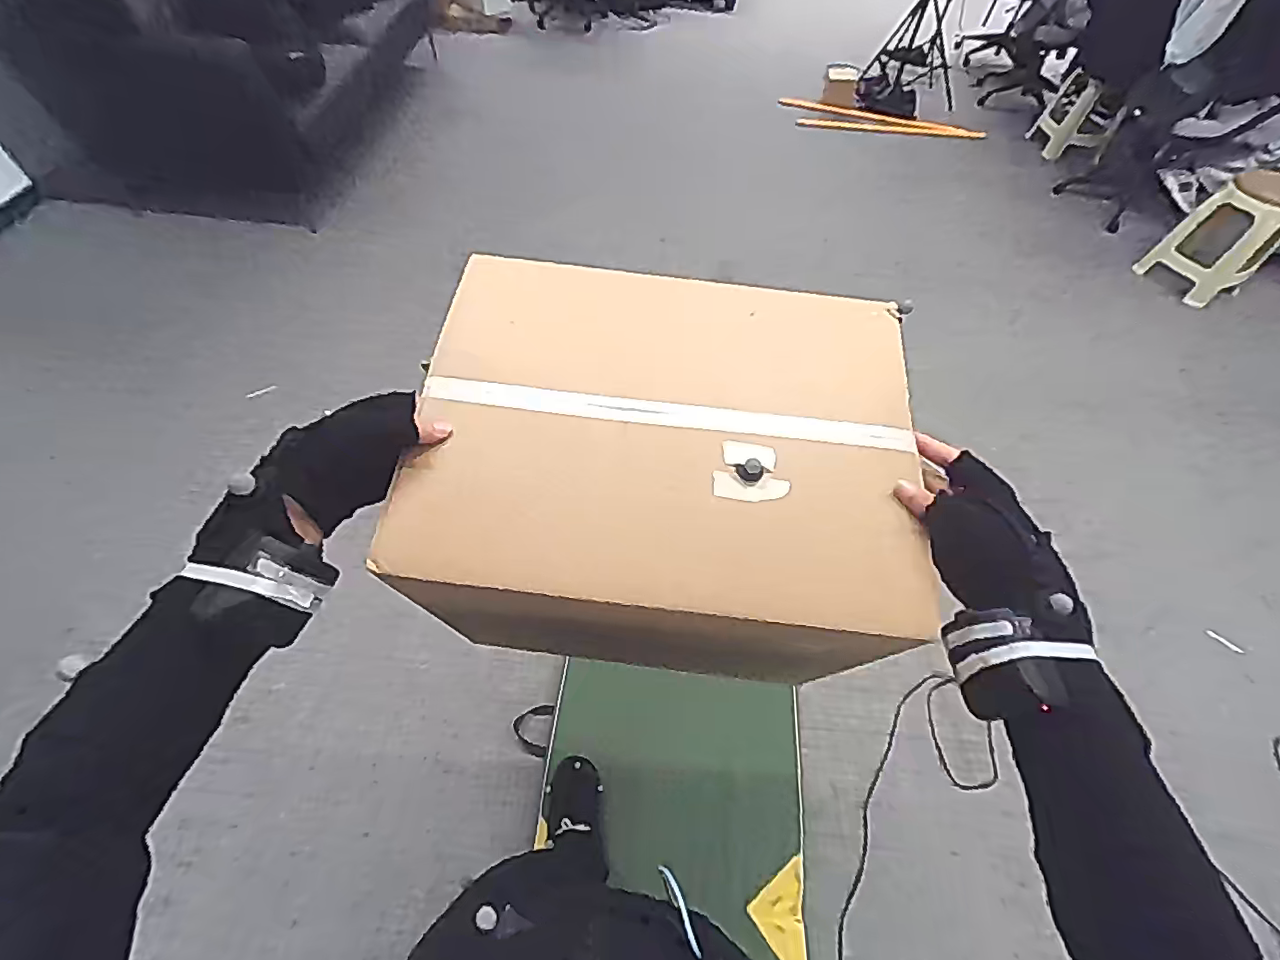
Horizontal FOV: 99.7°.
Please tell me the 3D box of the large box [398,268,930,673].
[{"bbox_3d":[0.022,0.014,0.594,0.408,0.320,0.320,7,64,0],"label":"large box"}]
